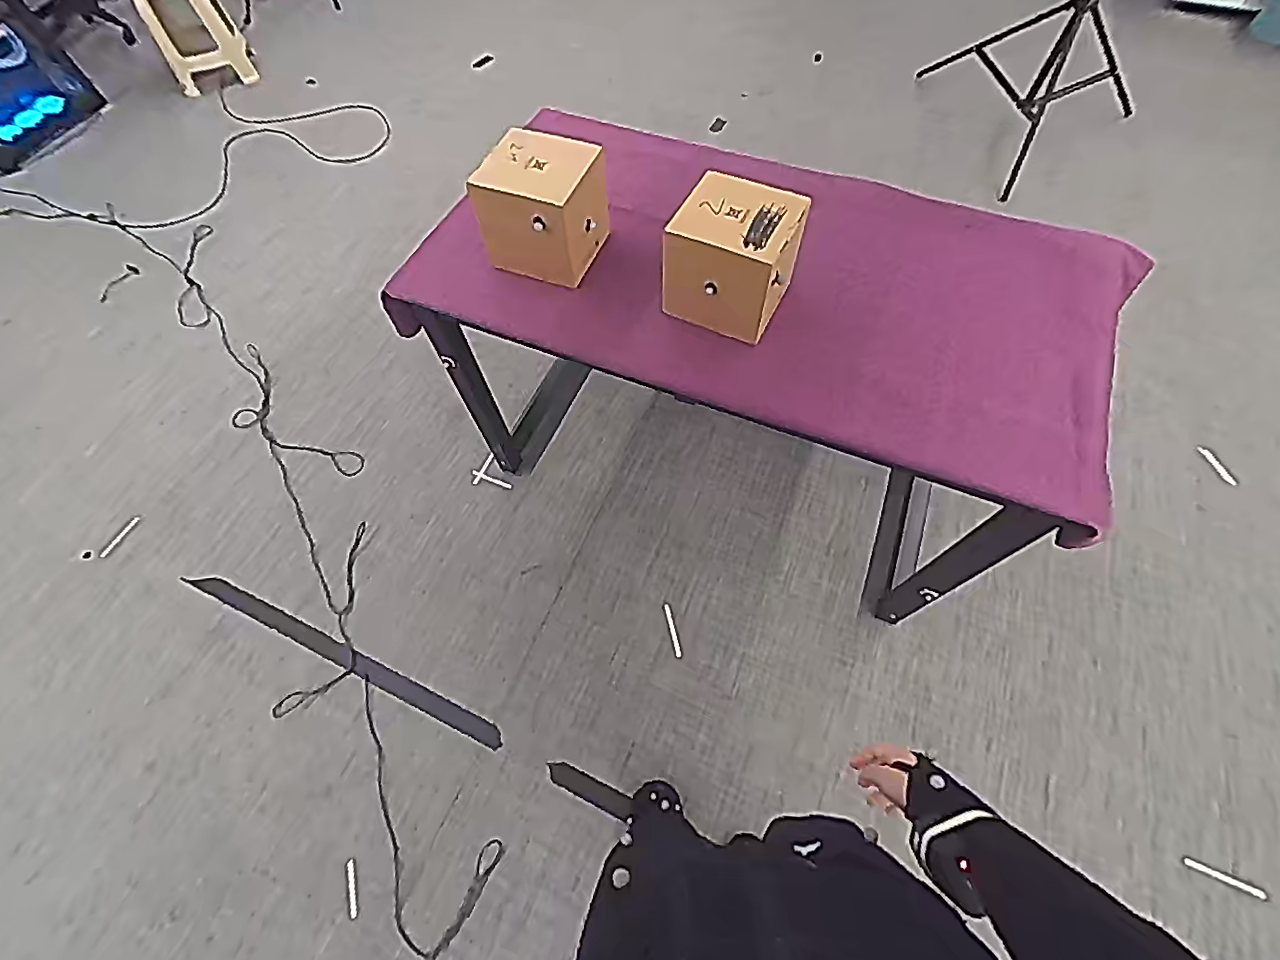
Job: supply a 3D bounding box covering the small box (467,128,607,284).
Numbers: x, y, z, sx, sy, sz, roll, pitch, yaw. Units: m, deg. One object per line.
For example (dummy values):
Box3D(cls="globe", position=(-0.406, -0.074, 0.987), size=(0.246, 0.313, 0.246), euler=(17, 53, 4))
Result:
Box3D(cls="small box", position=(-0.167, -0.475, 0.953), size=(0.179, 0.176, 0.168), euler=(18, 63, 11))
